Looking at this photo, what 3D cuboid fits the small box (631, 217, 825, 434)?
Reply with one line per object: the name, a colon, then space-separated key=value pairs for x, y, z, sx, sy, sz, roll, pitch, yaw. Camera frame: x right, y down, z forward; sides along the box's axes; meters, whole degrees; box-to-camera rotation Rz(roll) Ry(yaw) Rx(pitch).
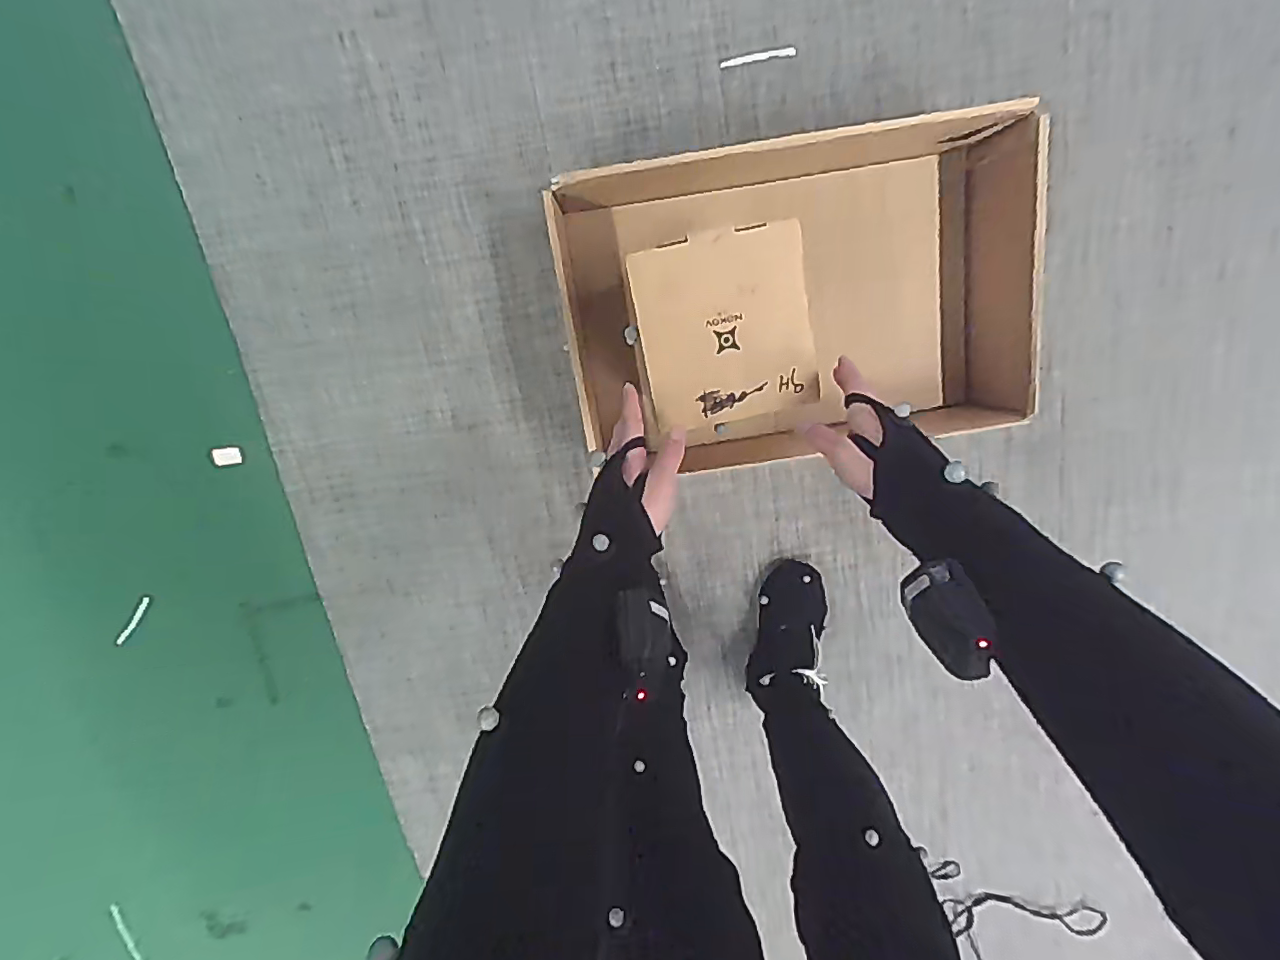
small box: x=0.084 y=-0.159 z=0.586 sx=0.168 sy=0.176 sz=0.179 roll=-11 pitch=104 yaw=2
